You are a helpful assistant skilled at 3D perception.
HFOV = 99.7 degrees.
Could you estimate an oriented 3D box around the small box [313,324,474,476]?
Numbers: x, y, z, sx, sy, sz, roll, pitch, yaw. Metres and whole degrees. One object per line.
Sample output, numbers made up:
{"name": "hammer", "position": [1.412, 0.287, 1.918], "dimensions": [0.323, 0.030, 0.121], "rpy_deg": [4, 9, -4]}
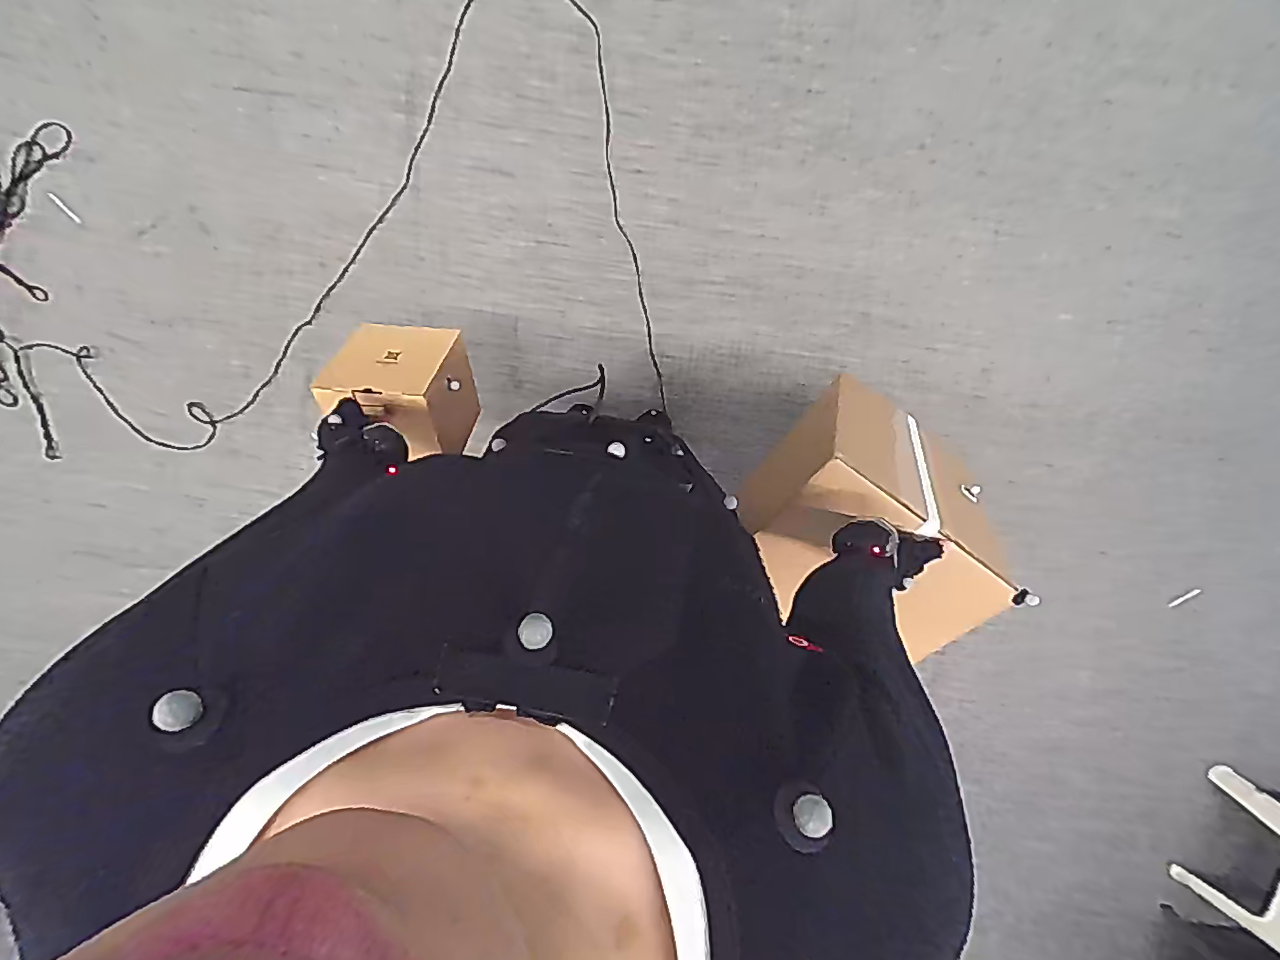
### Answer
{"name": "small box", "position": [-0.381, -0.131, 0.879], "dimensions": [0.168, 0.179, 0.176], "rpy_deg": [4, 137, 2]}
